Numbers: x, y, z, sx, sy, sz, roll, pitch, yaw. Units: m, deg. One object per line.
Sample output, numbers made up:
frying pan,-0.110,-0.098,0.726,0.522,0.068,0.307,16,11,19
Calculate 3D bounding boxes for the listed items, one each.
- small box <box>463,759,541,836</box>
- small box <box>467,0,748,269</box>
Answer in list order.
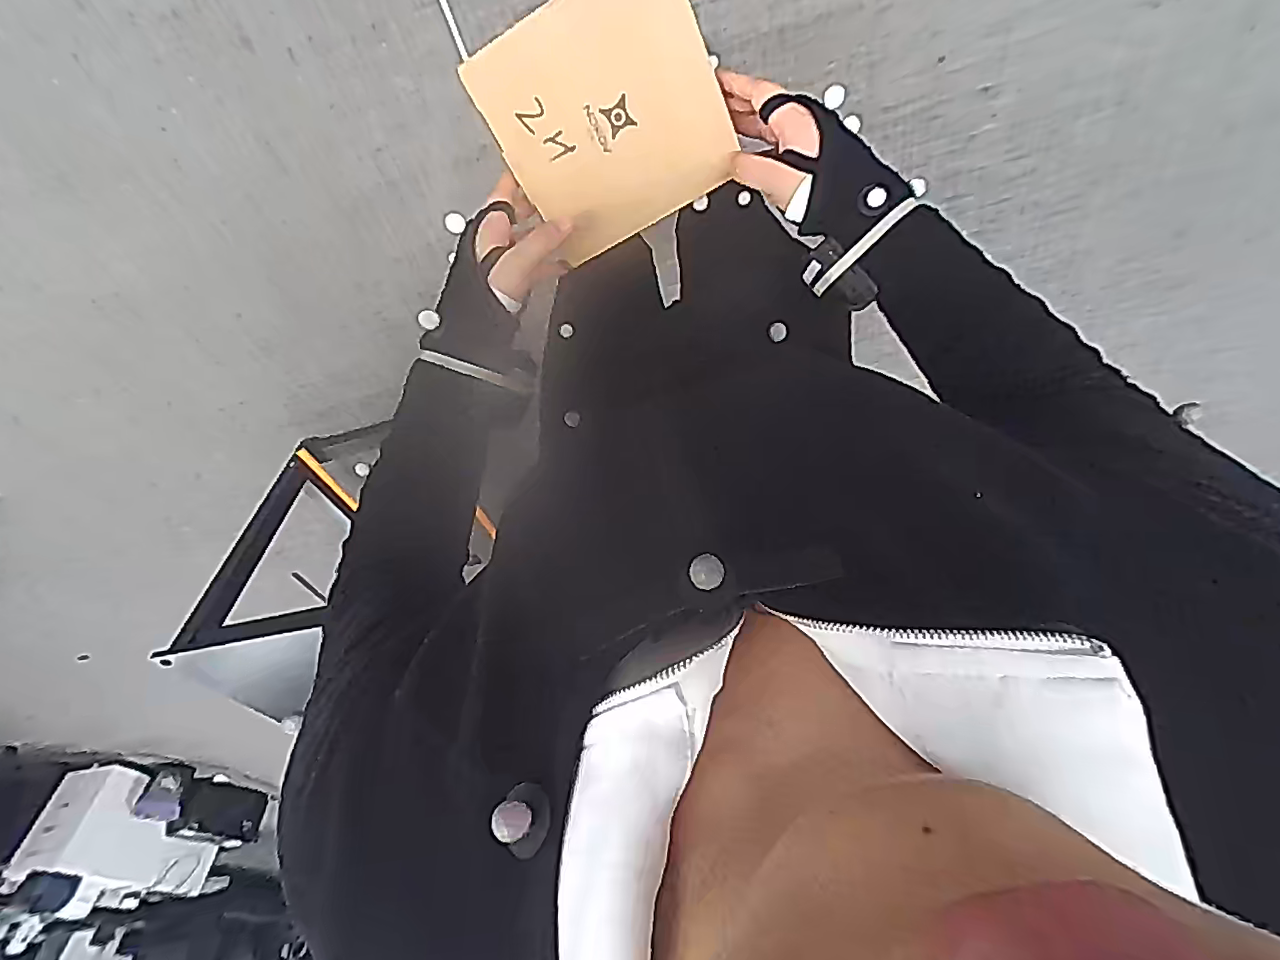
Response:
small box,-0.424,0.992,1.690,0.179,0.176,0.168,-11,136,8
small box,-0.023,-0.328,0.494,0.179,0.176,0.168,-23,122,15
